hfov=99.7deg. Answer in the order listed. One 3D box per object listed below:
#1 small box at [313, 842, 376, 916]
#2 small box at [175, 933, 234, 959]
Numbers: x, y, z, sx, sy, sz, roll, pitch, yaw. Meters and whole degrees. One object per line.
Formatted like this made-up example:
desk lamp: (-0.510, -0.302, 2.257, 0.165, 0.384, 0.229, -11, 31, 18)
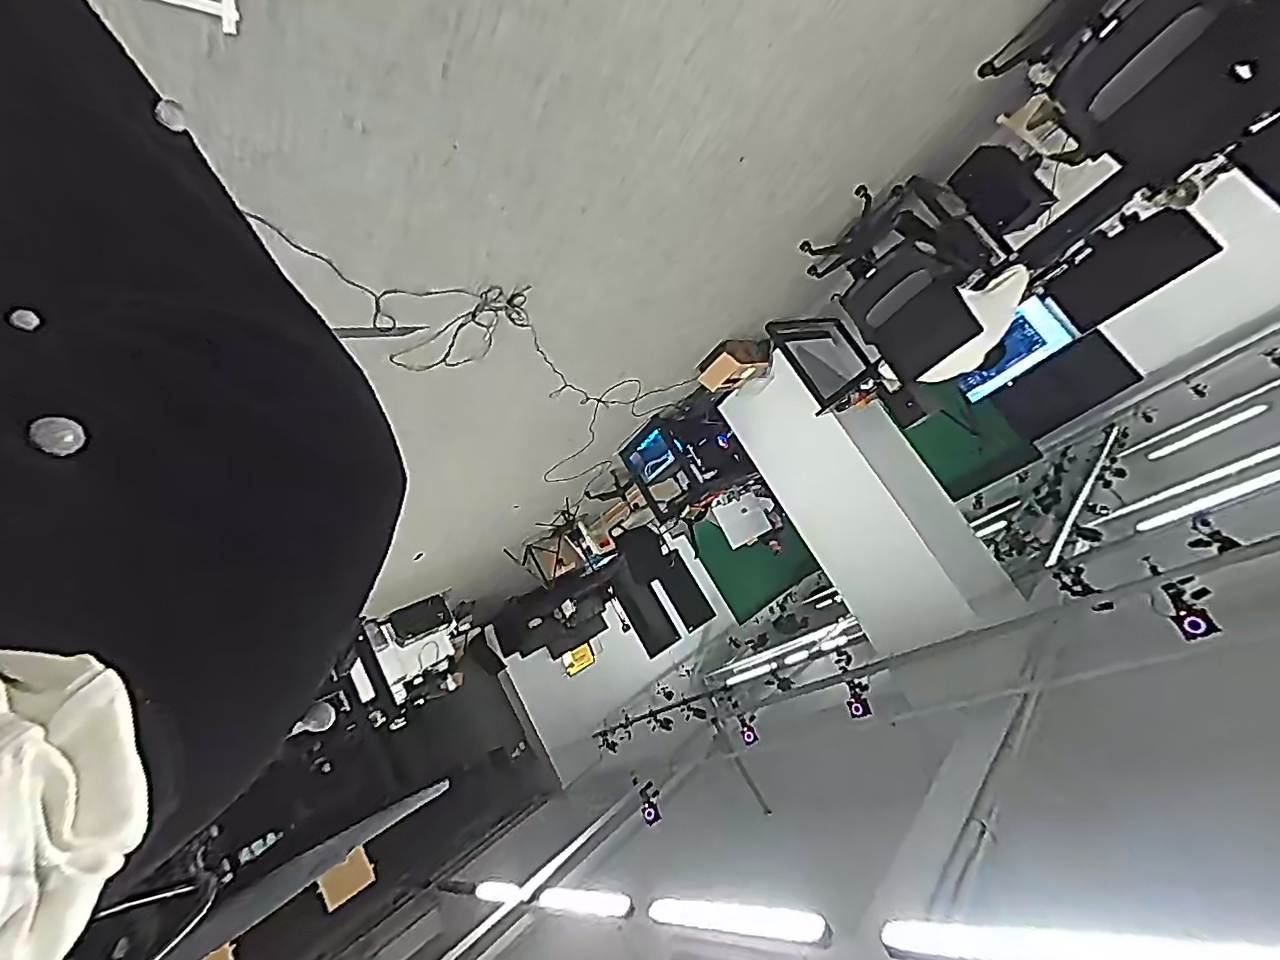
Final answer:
small box: (-1.146, 1.535, 2.093, 0.168, 0.176, 0.179, -22, 164, -39)
small box: (-1.458, 1.644, 1.789, 0.179, 0.176, 0.168, -18, 161, -45)
